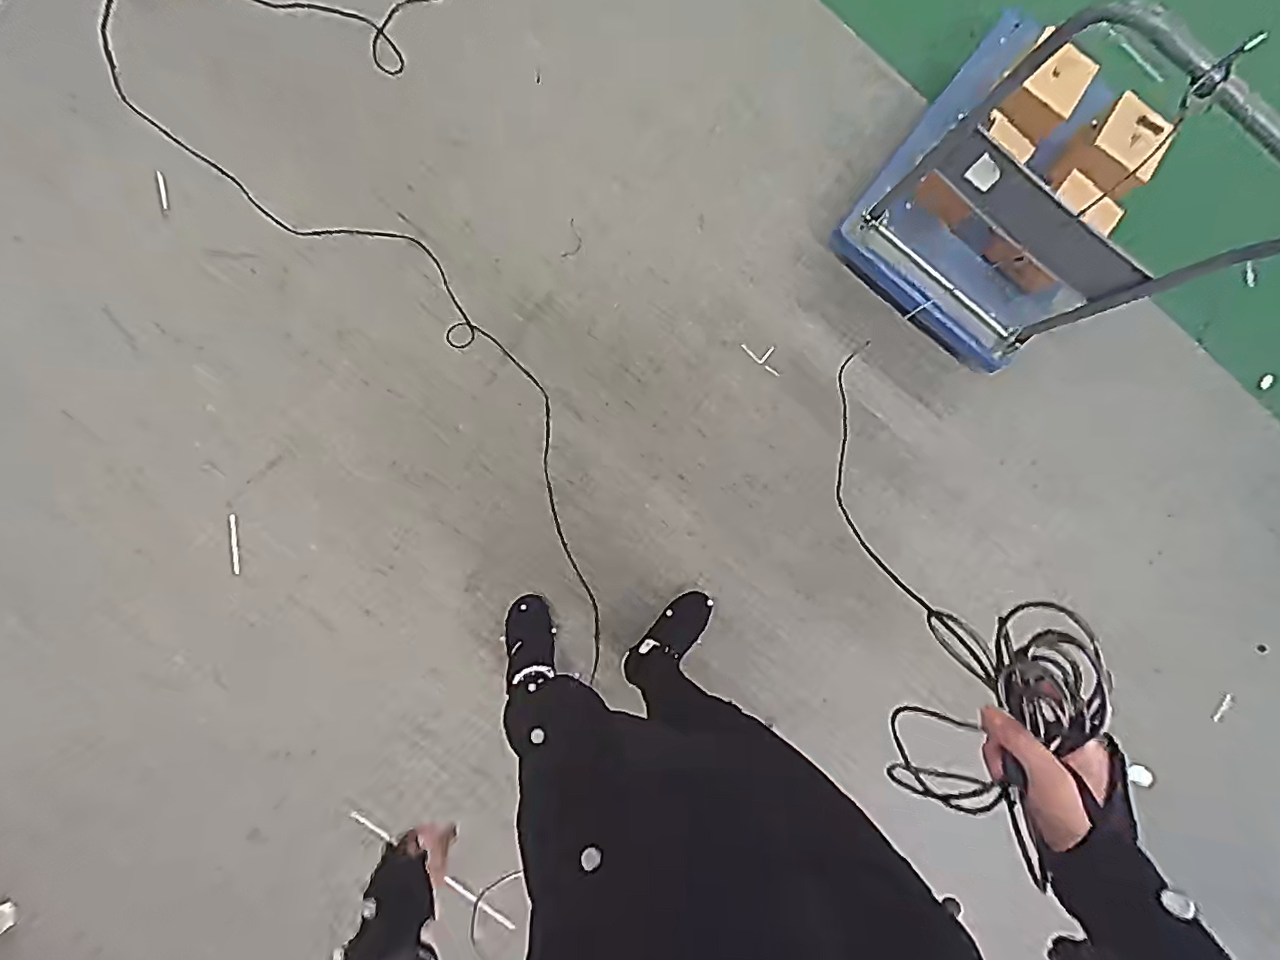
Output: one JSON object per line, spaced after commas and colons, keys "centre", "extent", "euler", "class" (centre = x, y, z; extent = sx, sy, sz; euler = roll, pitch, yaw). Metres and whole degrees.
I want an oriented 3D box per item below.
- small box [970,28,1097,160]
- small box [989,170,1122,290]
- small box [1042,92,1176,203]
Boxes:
{"centre": [0.989, -0.970, 1.377], "extent": [0.168, 0.176, 0.179], "euler": [35, 82, -4], "class": "small box"}
{"centre": [1.030, -0.618, 1.357], "extent": [0.168, 0.176, 0.179], "euler": [40, 83, -3], "class": "small box"}
{"centre": [1.196, -0.828, 1.393], "extent": [0.168, 0.176, 0.179], "euler": [35, 83, -3], "class": "small box"}
